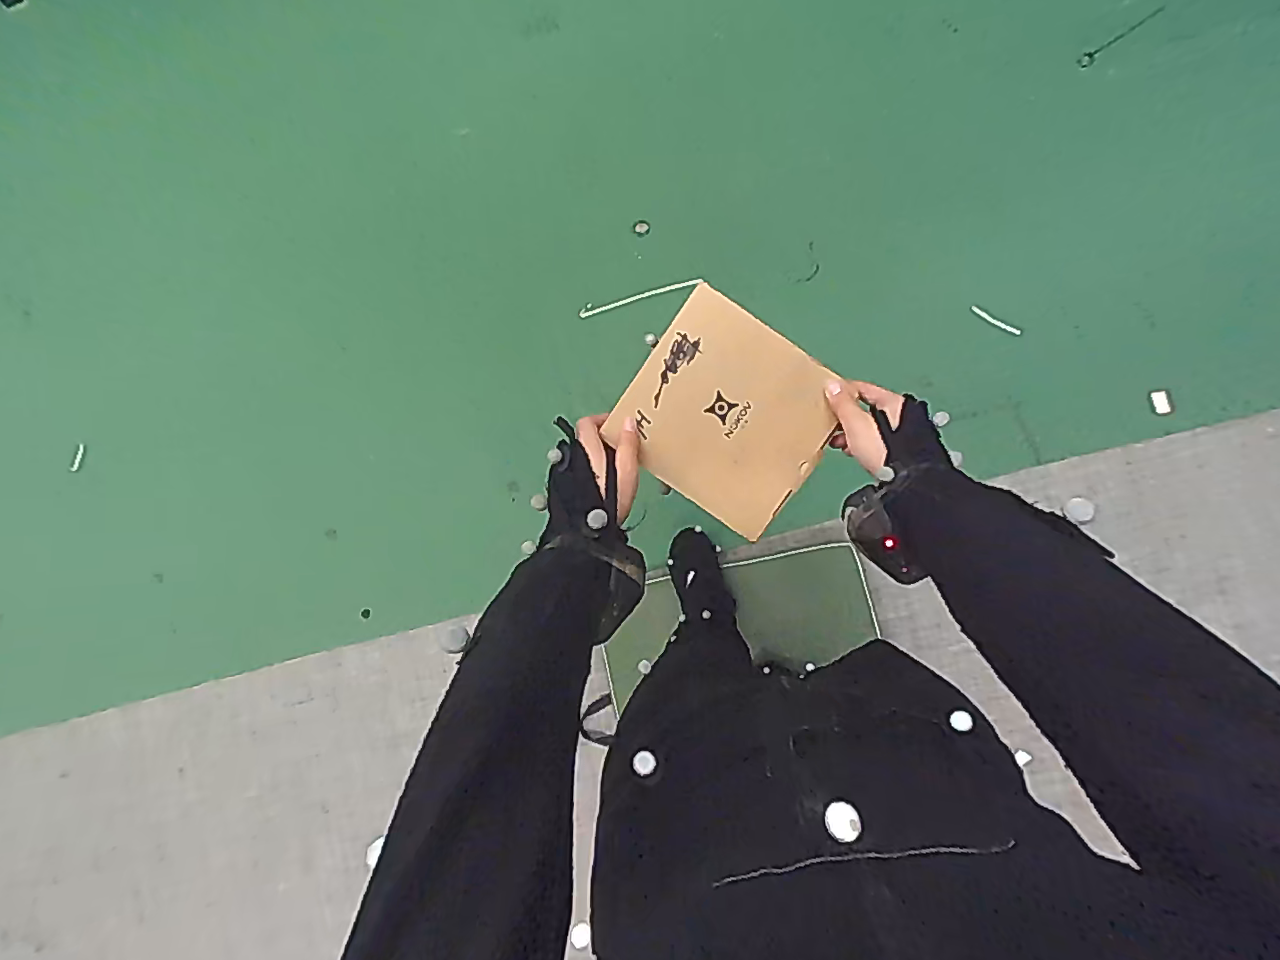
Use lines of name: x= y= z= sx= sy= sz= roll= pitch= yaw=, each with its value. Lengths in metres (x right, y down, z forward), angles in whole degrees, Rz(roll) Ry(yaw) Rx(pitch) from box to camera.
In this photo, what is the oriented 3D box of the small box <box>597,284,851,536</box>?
small box: x=0.076 y=-0.068 z=0.568 sx=0.179 sy=0.176 sz=0.168 roll=35 pitch=93 yaw=-2
